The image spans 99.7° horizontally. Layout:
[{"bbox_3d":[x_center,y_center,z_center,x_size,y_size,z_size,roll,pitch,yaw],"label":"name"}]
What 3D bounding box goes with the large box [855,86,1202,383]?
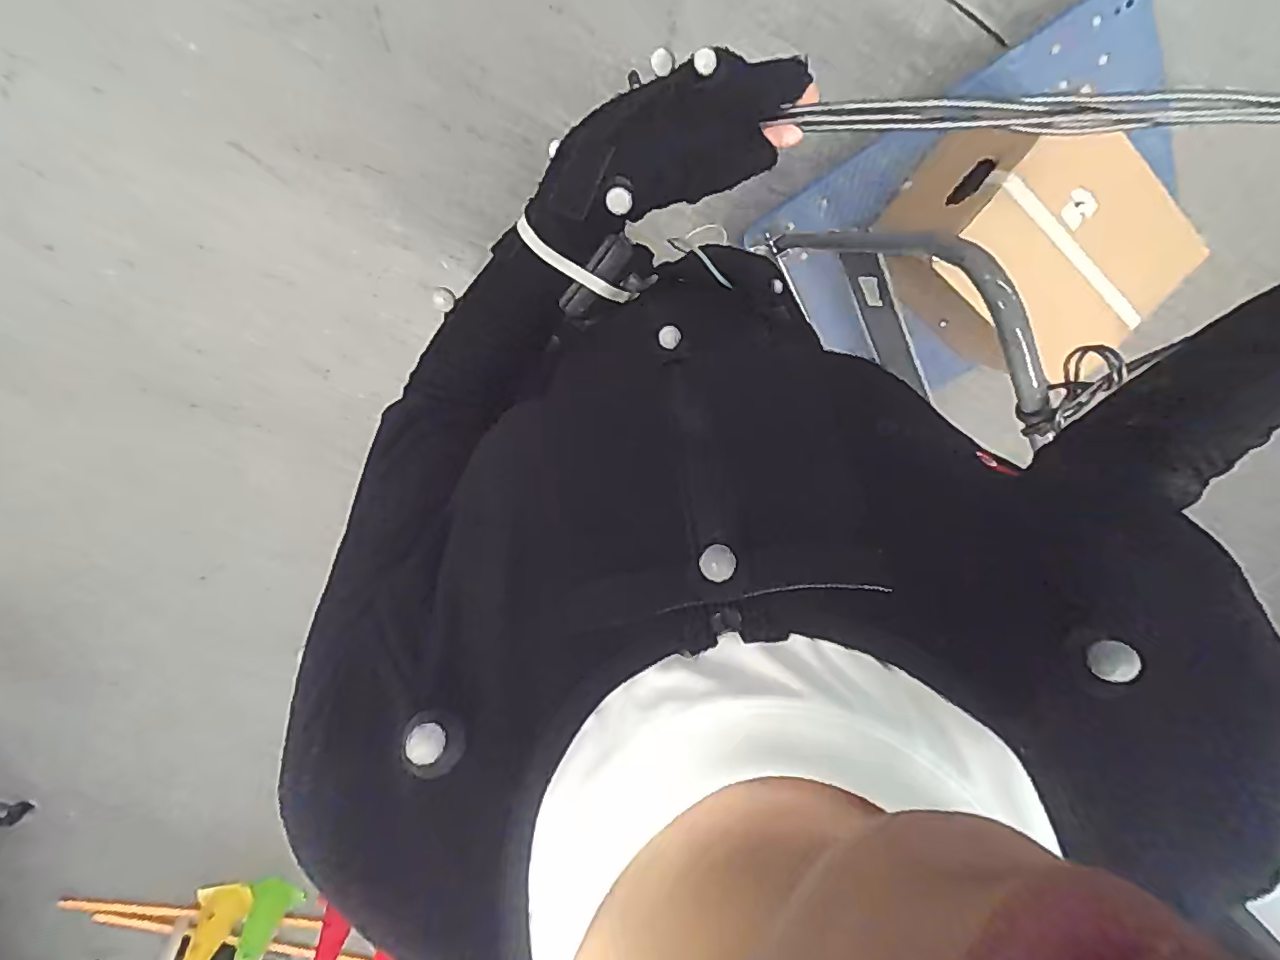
[{"bbox_3d":[0.722,-0.457,1.061,0.408,0.320,0.320,32,109,-18],"label":"large box"}]
